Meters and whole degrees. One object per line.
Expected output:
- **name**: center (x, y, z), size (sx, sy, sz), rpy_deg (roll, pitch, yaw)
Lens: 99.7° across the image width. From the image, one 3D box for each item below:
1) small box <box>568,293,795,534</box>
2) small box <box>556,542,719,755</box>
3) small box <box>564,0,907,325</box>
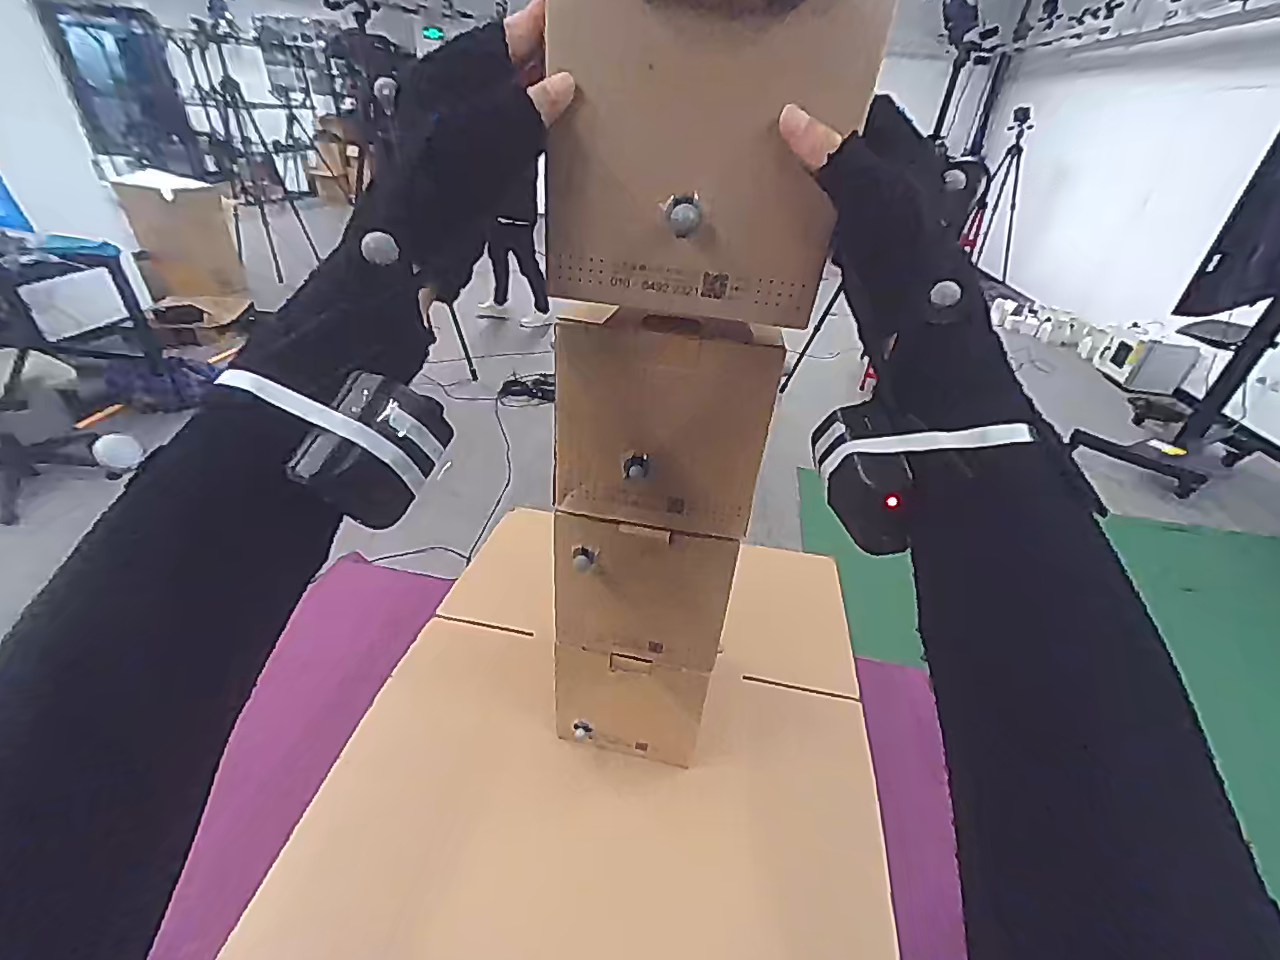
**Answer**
- **small box**: center (0.032, -0.077, 0.490), size (0.168, 0.176, 0.179), rpy_deg (8, 32, 5)
- **small box**: center (0.002, 0.203, 0.660), size (0.168, 0.176, 0.179), rpy_deg (8, 34, 4)
- **small box**: center (0.046, -0.220, 0.360), size (0.168, 0.176, 0.179), rpy_deg (8, 36, 3)
